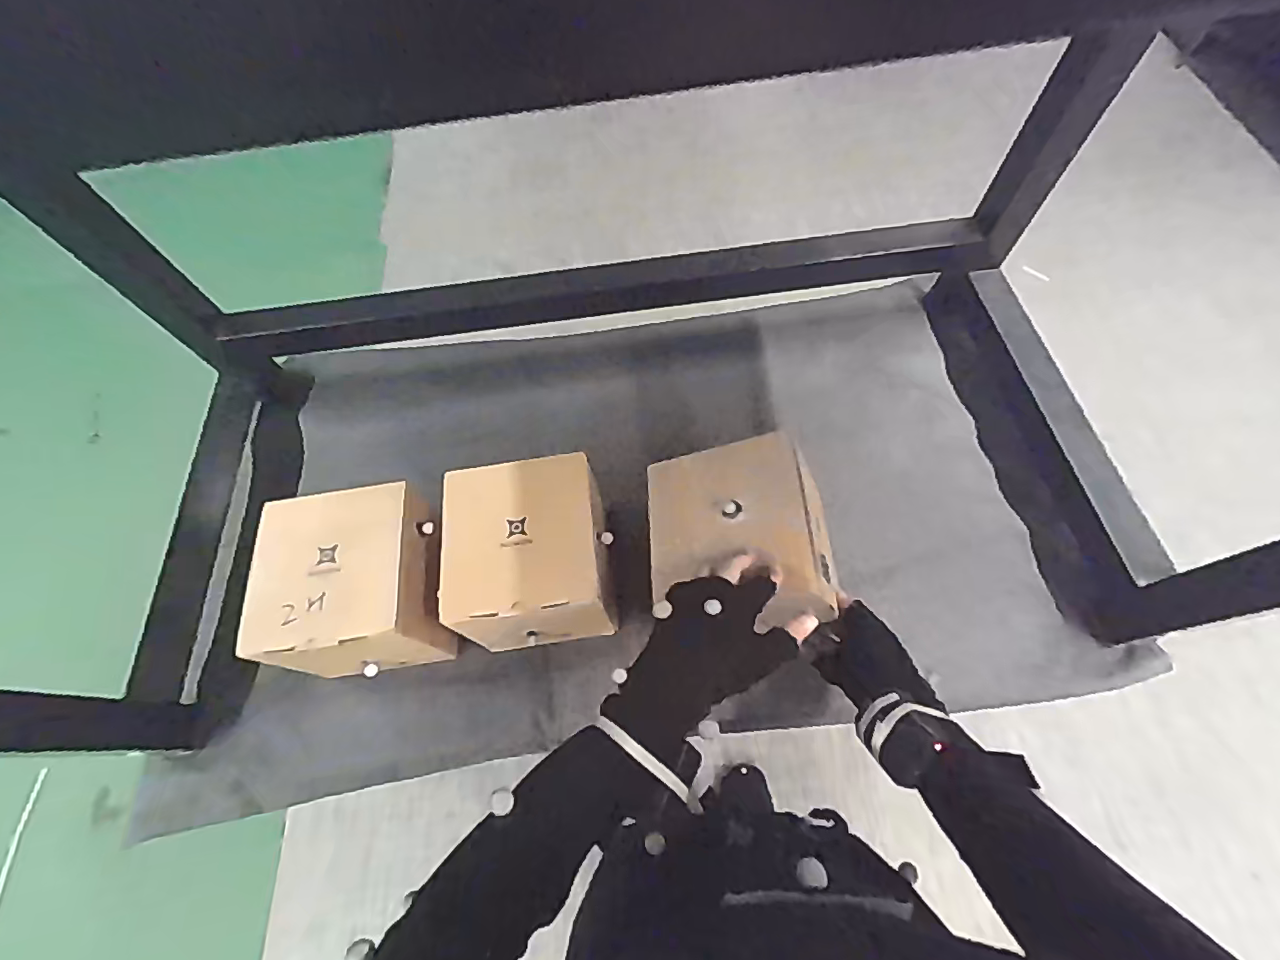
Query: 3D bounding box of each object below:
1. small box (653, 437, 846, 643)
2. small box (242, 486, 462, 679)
[{"bbox_3d":[0.123,0.081,0.618,0.176,0.168,0.179,-14,60,20],"label":"small box"},{"bbox_3d":[-0.326,0.129,0.655,0.168,0.176,0.179,-9,62,0],"label":"small box"}]
